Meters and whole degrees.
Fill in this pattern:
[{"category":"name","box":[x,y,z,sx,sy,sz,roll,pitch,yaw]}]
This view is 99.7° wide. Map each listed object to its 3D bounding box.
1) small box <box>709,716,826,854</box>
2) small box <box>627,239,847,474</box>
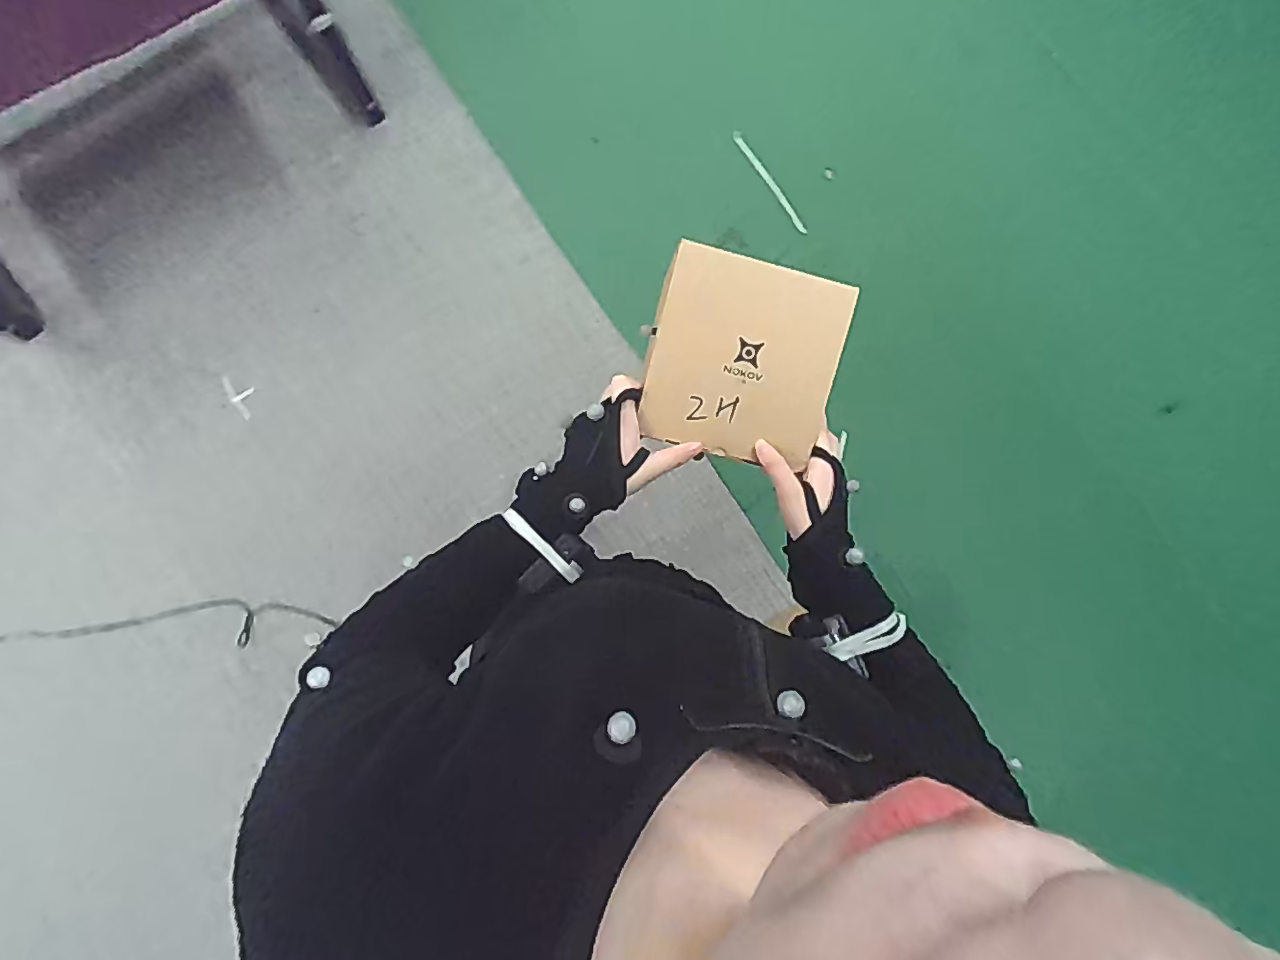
[{"category":"small box","box":[0.269,0.654,1.182,0.168,0.176,0.179,-26,85,-6]},{"category":"small box","box":[0.082,-0.117,0.560,0.168,0.176,0.179,13,98,-4]}]
